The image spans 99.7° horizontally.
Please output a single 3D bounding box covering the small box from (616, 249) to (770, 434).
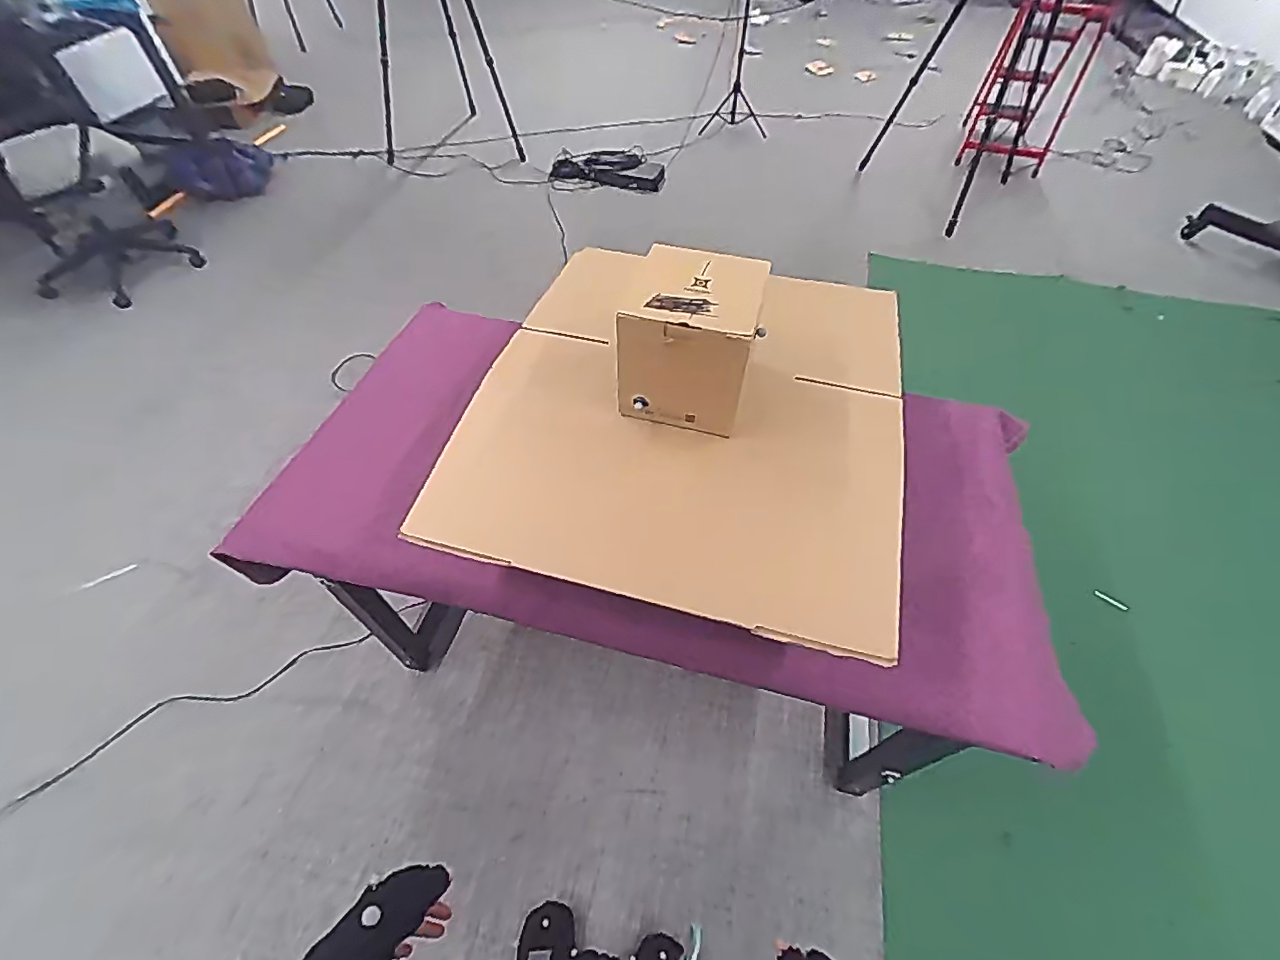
[{"bbox_3d":[0.073,-0.188,0.746,0.168,0.176,0.179,13,52,9],"label":"small box"}]
